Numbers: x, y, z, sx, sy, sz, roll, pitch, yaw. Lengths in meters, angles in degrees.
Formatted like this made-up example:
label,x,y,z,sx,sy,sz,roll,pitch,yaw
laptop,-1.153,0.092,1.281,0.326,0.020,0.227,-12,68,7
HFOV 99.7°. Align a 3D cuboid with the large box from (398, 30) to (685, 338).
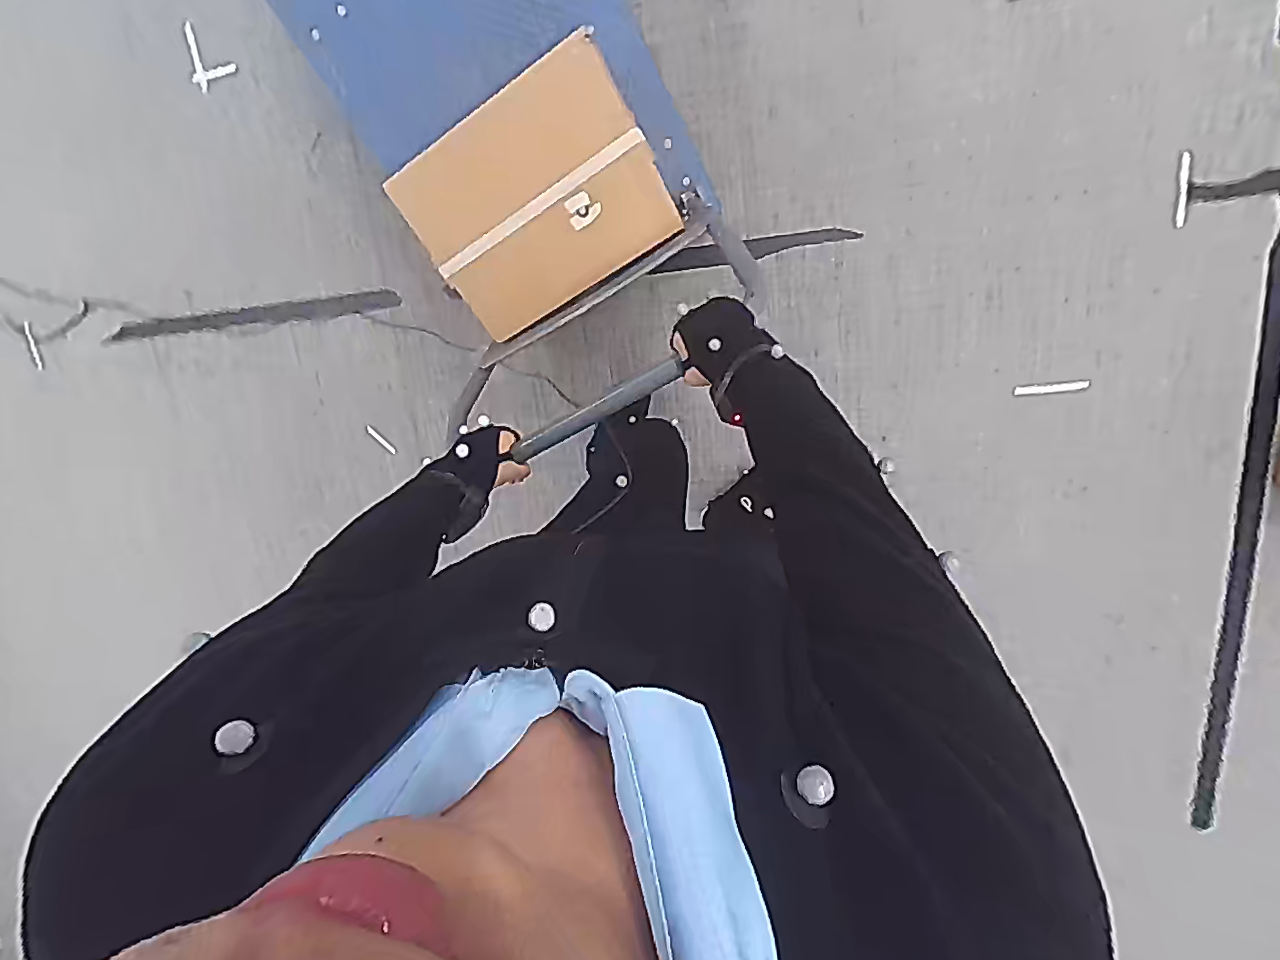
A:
label,x,y,z,sx,sy,sz,roll,pitch,yaw
large box,-0.167,-0.543,1.049,0.408,0.320,0.320,-28,117,15
